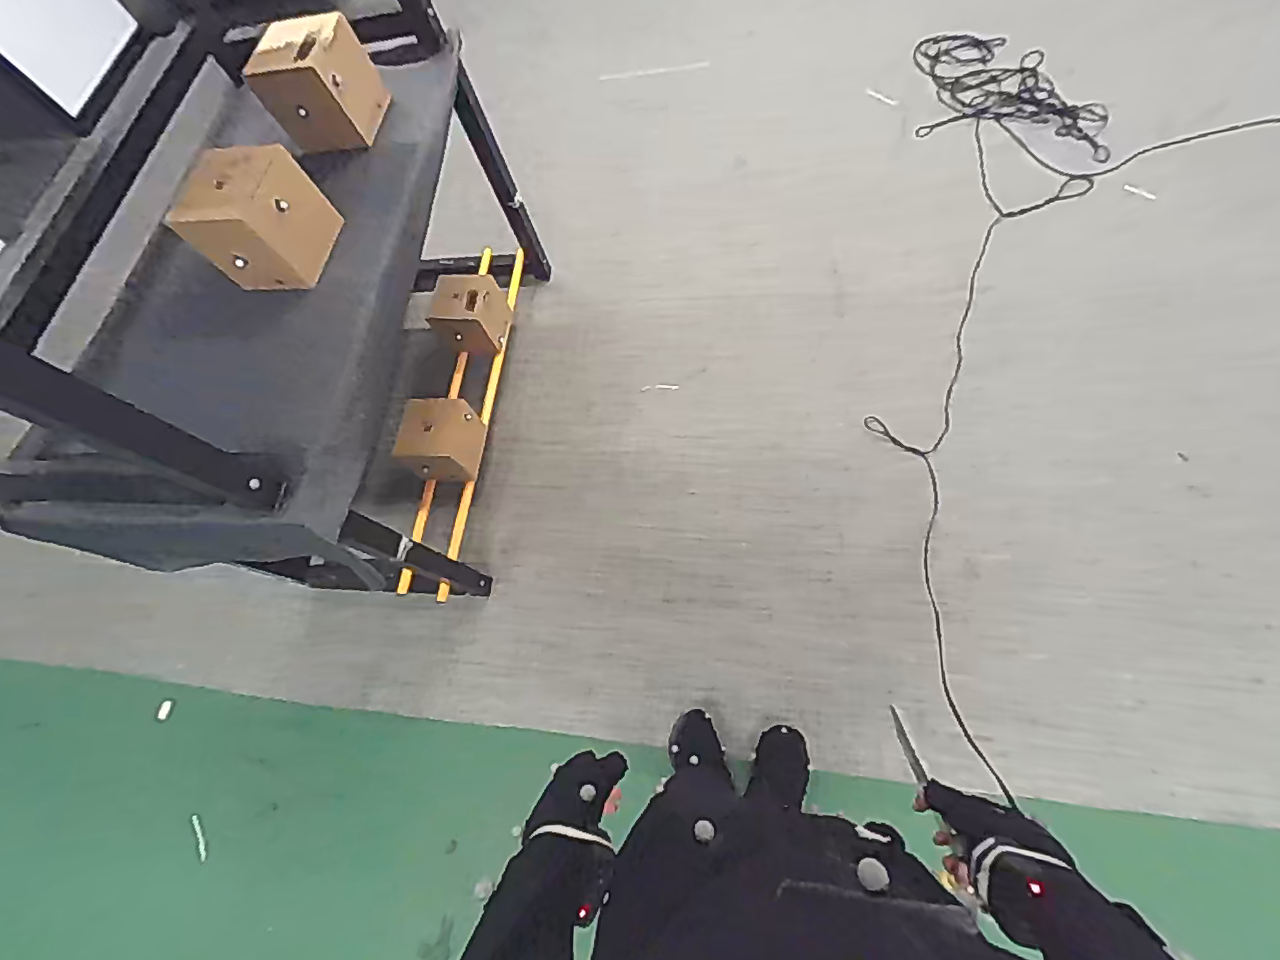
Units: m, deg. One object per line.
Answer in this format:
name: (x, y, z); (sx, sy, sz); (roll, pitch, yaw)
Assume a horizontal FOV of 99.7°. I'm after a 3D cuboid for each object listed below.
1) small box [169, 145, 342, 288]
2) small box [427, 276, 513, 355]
small box: (-0.691, -0.475, 0.995); (0.168, 0.176, 0.179); (4, 69, 12)
small box: (-0.512, -0.500, 1.658); (0.179, 0.176, 0.168); (4, 68, 12)
